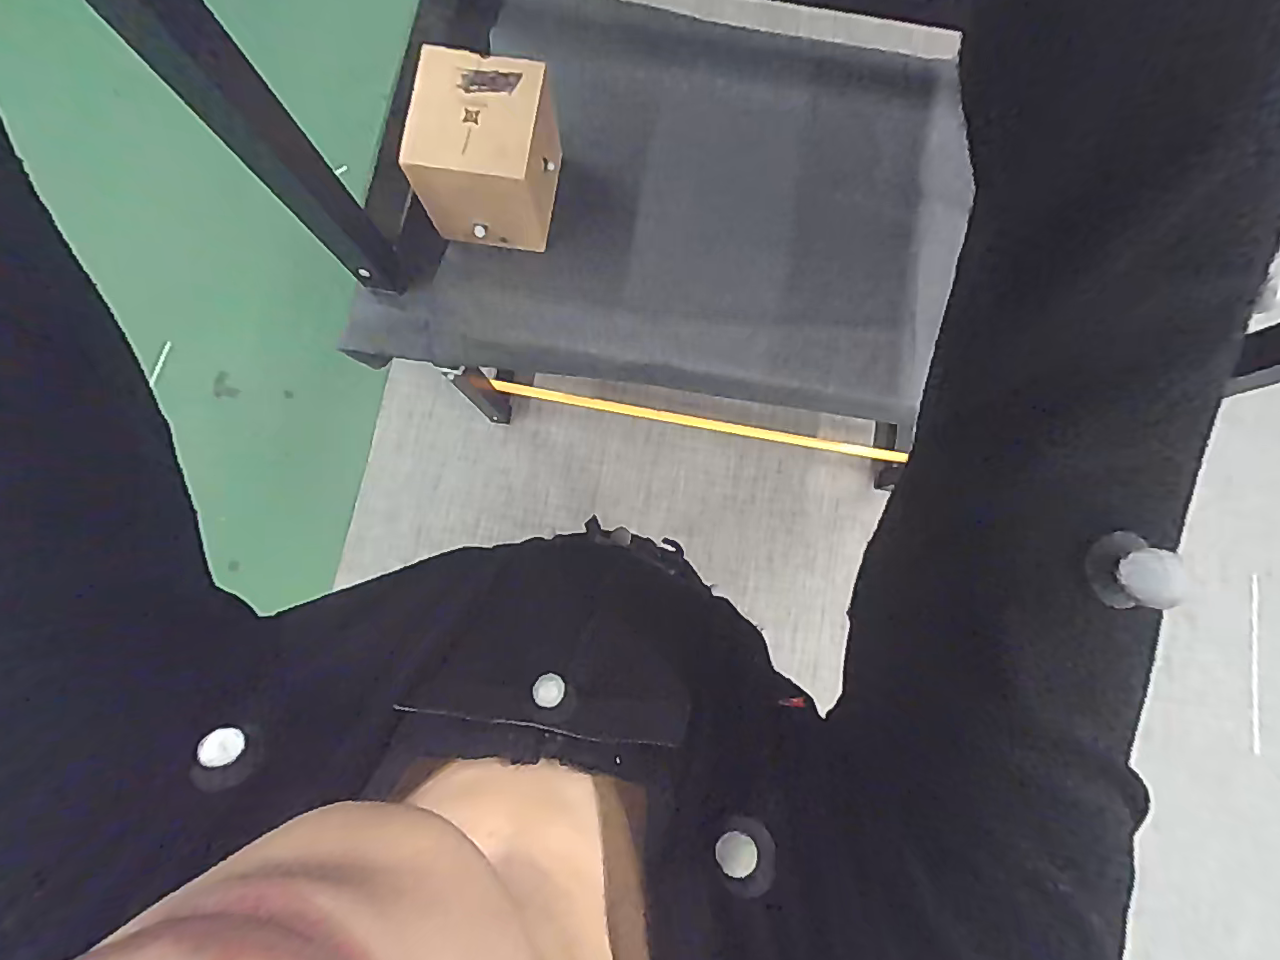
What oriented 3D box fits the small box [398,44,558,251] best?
[{"bbox_3d":[-0.216,-0.462,0.772,0.168,0.176,0.179,8,81,0],"label":"small box"}]
